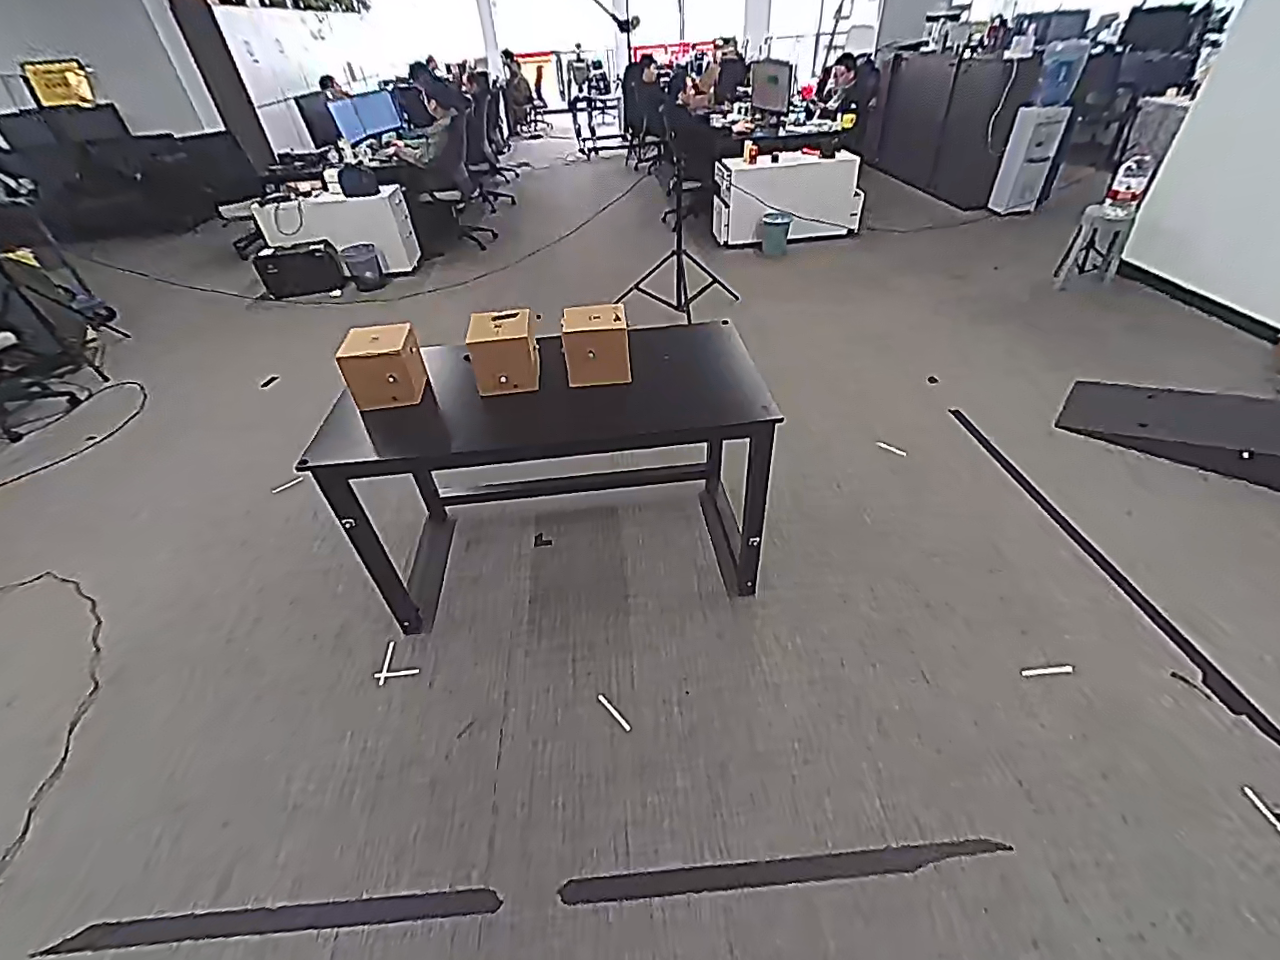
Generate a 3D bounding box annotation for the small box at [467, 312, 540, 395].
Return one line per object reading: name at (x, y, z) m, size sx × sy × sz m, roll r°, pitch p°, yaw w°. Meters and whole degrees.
small box at (-0.379, -0.358, 1.532) m, size 0.168 × 0.176 × 0.179 m, roll -7°, pitch 41°, yaw -3°

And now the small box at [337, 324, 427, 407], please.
small box at (-0.708, -0.314, 1.506) m, size 0.168 × 0.176 × 0.179 m, roll -7°, pitch 39°, yaw -6°

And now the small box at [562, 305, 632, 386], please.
small box at (-0.120, -0.379, 1.537) m, size 0.179 × 0.176 × 0.168 m, roll -5°, pitch 40°, yaw -1°
